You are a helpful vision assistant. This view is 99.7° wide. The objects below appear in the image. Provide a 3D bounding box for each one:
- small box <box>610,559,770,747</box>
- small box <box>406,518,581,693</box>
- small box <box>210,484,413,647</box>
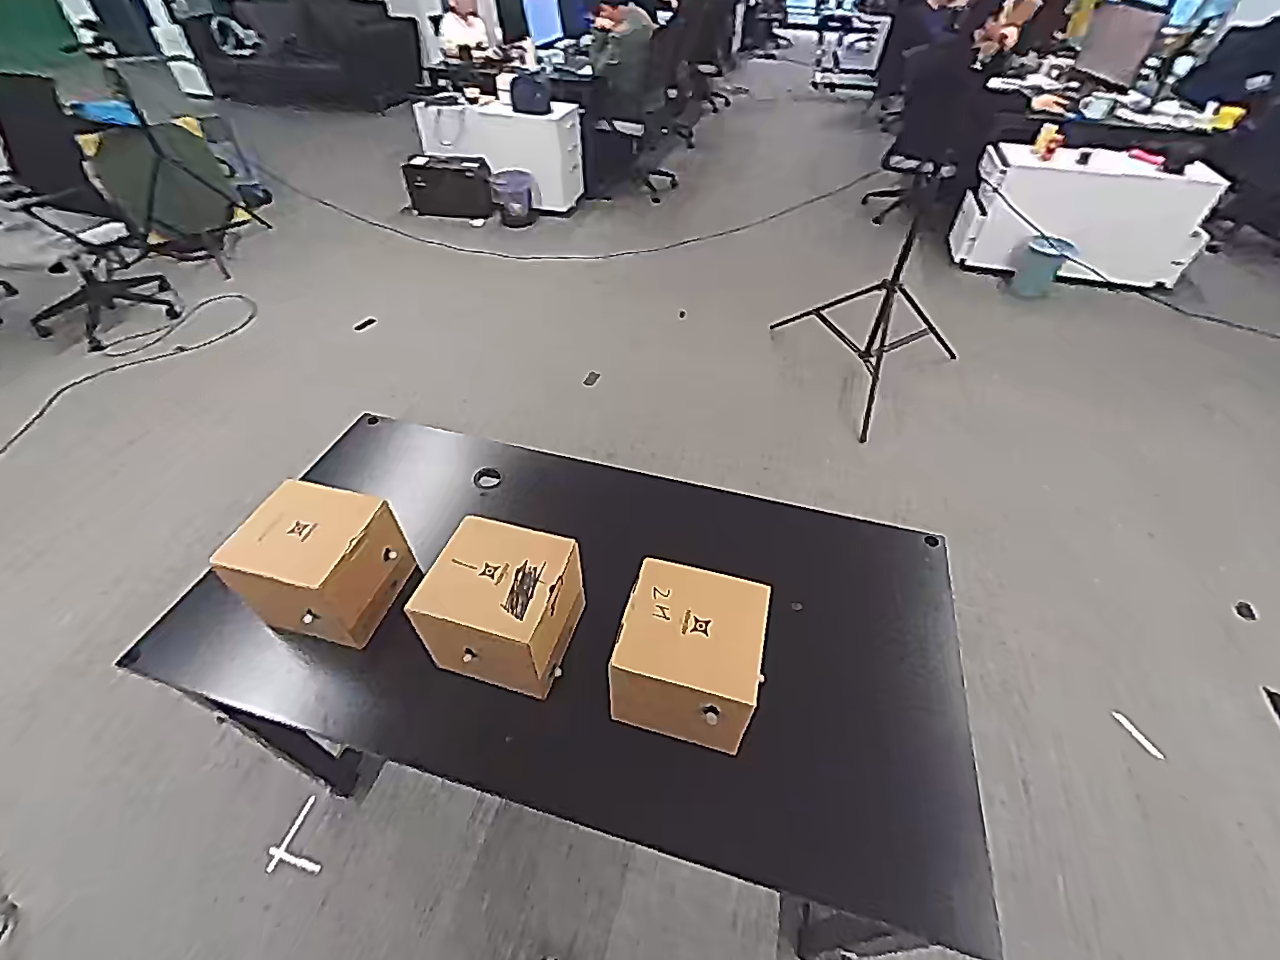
[{"bbox_3d":[0.066,0.237,0.732,0.179,0.176,0.168,11,46,9],"label":"small box"},{"bbox_3d":[-0.194,0.185,0.781,0.179,0.176,0.168,12,47,11],"label":"small box"},{"bbox_3d":[-0.481,0.134,0.828,0.179,0.176,0.168,9,46,9],"label":"small box"}]
